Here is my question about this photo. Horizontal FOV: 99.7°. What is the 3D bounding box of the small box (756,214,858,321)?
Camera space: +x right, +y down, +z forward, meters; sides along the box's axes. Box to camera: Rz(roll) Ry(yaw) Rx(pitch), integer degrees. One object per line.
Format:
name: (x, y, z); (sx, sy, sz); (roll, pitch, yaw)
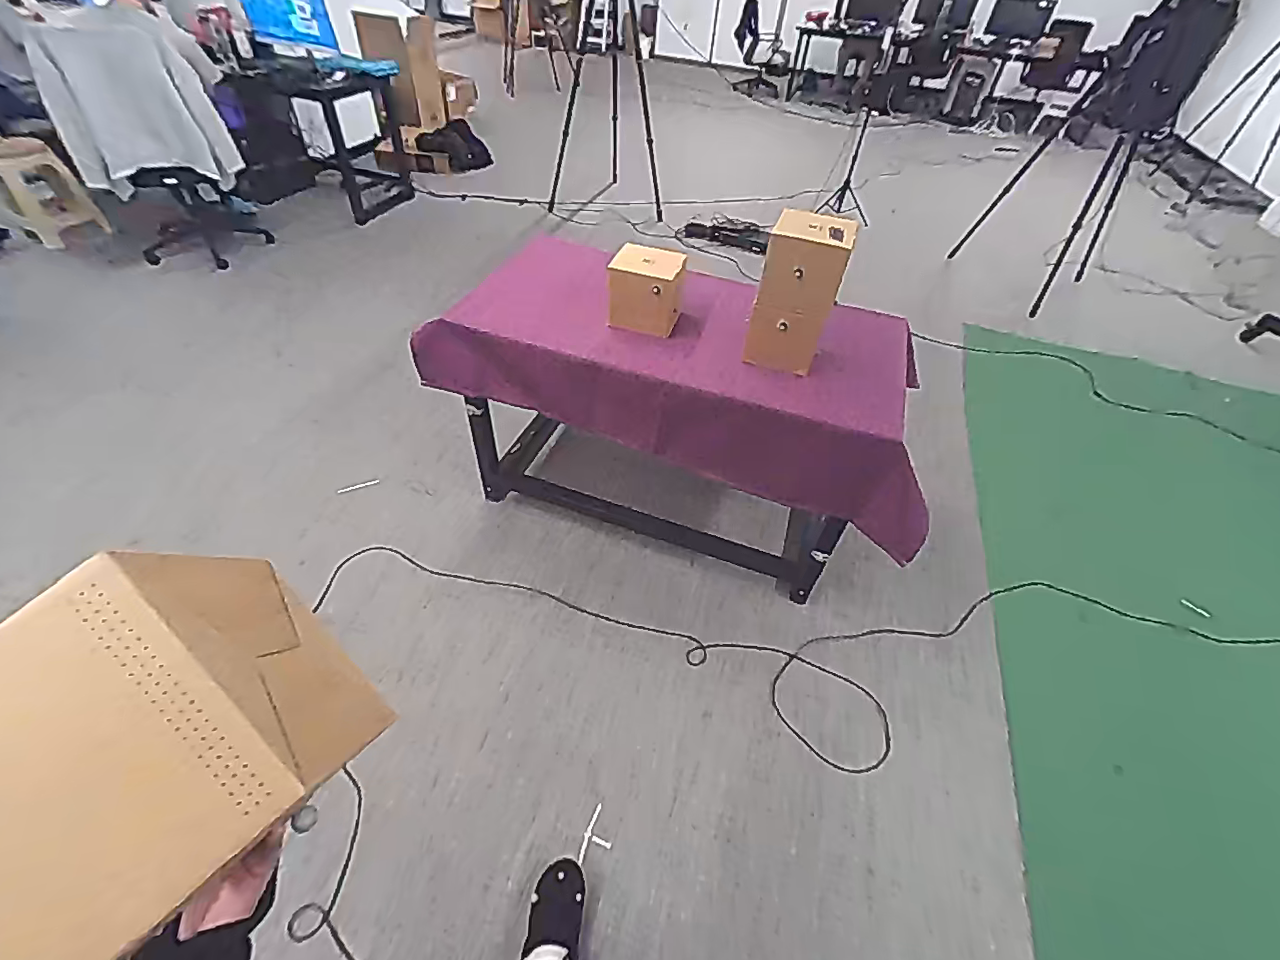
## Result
small box: (0.385, -0.492, 1.260); (0.179, 0.176, 0.168); (17, 47, 13)

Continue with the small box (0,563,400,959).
small box: (-0.300, 0.169, 0.360); (0.176, 0.168, 0.179); (-41, 88, -12)

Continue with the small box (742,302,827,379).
small box: (0.371, -0.379, 1.379); (0.179, 0.176, 0.168); (18, 47, 12)

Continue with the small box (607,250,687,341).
small box: (0.016, -0.497, 1.465); (0.179, 0.176, 0.168); (15, 46, 8)
